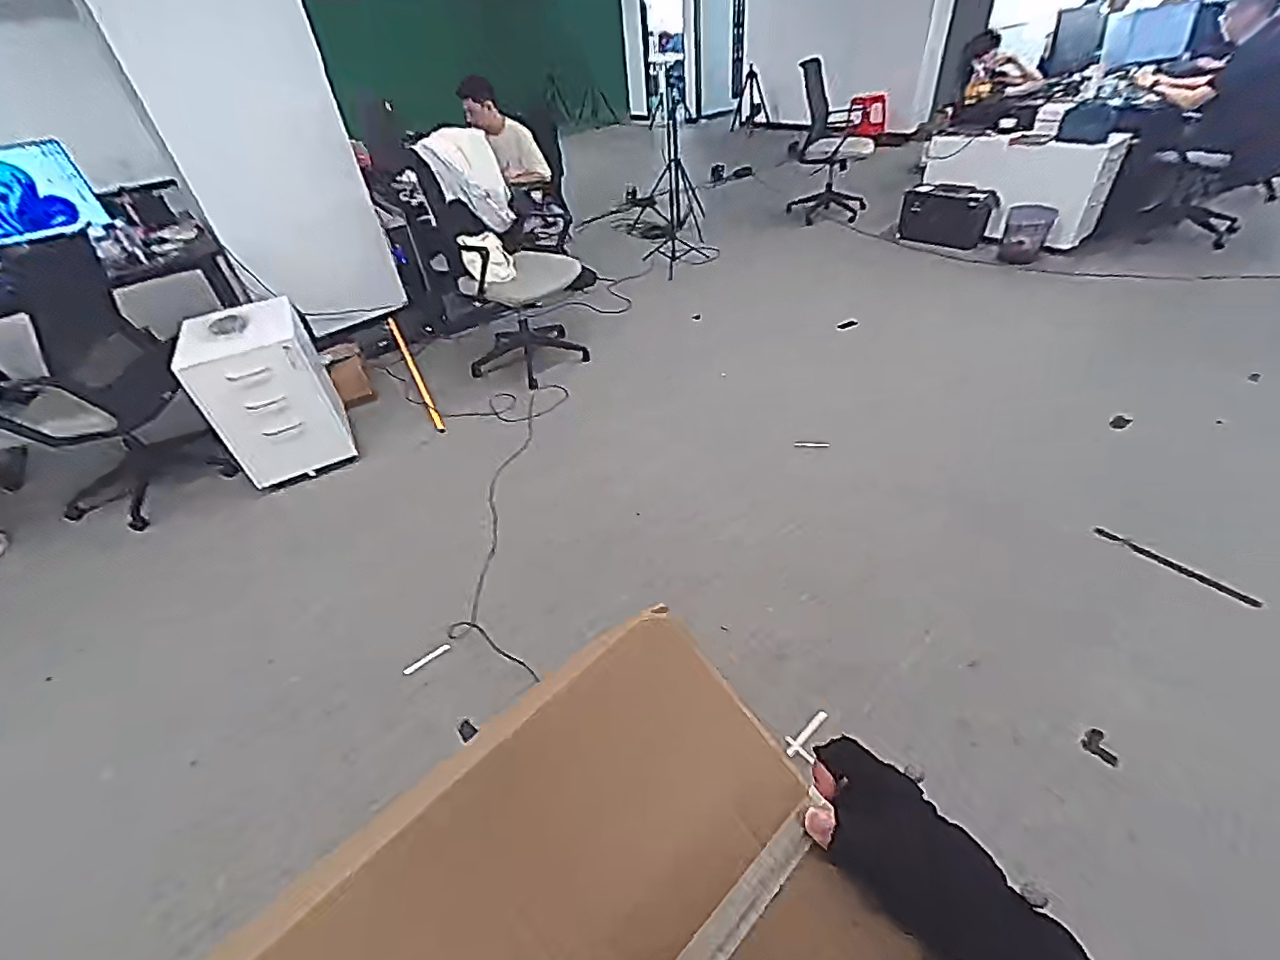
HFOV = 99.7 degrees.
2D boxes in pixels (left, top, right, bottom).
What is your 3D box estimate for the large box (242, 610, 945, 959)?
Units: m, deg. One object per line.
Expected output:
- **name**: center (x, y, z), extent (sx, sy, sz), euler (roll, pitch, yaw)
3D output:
- **large box**: center (-0.075, 0.366, 0.395), extent (0.408, 0.320, 0.320), euler (-37, 82, -26)
